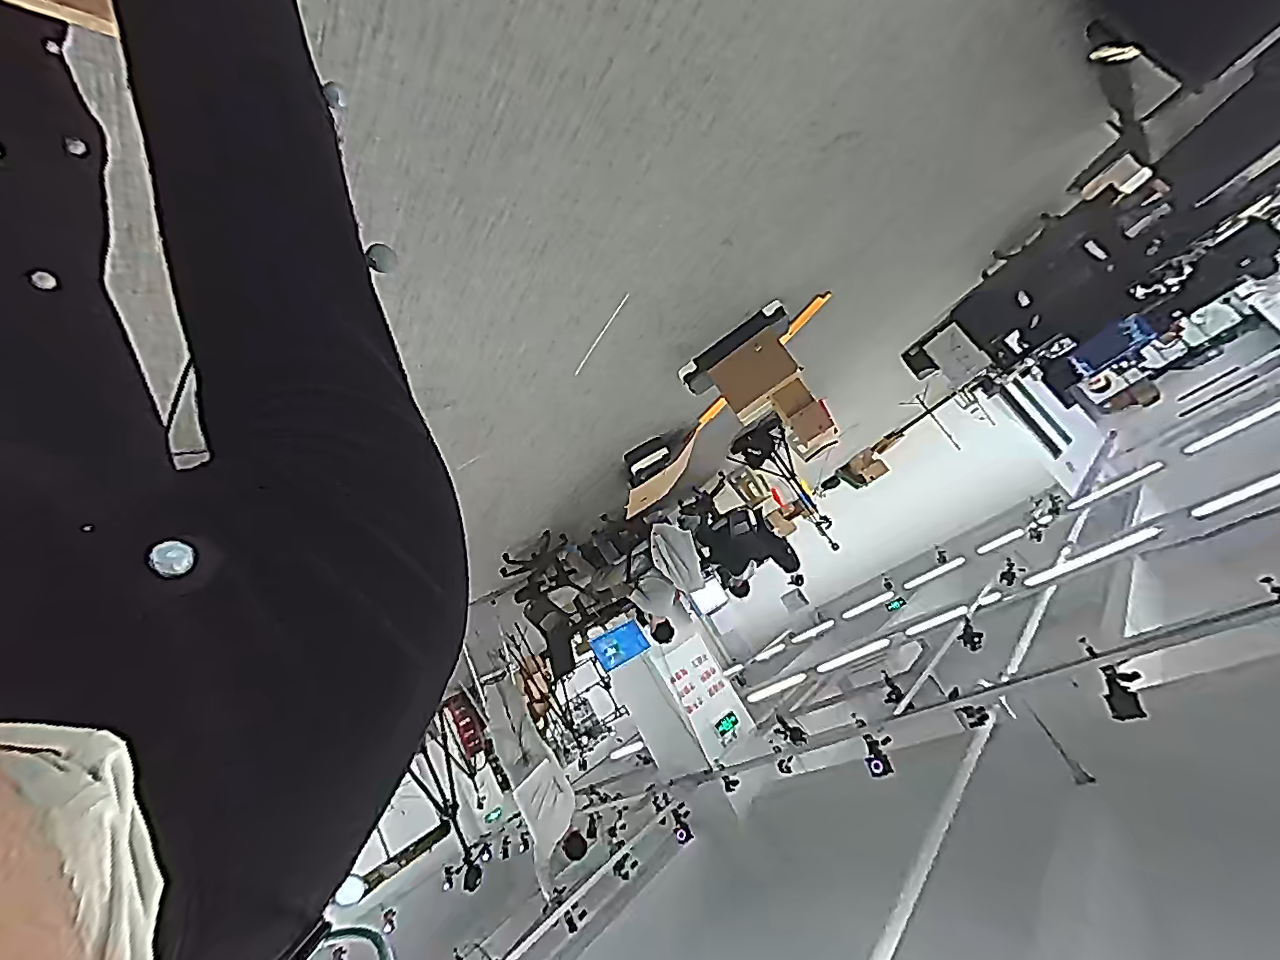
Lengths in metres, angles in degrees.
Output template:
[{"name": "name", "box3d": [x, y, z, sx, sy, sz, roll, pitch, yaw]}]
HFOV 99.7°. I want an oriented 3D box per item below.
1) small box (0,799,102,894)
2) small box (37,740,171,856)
[{"name": "small box", "box3d": [-1.564, 0.930, 1.402, 0.168, 0.176, 0.179, -23, 162, -31]}, {"name": "small box", "box3d": [-1.332, 0.774, 1.342, 0.179, 0.176, 0.168, -34, 164, 9]}]
